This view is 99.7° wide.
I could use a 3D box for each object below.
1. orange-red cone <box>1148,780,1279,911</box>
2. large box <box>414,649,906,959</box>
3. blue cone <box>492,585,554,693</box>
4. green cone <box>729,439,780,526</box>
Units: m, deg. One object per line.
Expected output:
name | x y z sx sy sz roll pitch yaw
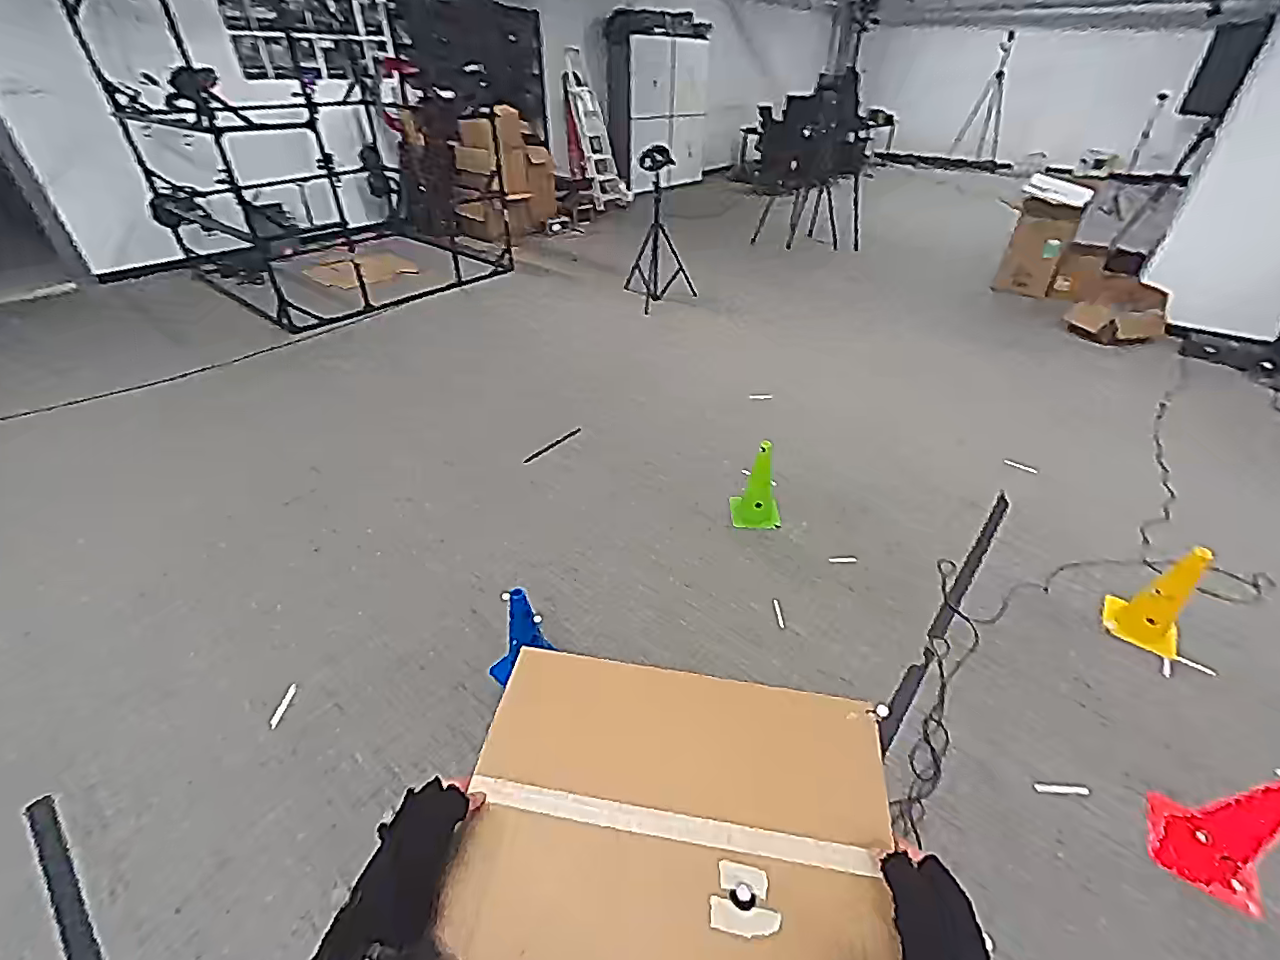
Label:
orange-red cone | 1.363 0.758 1.212 0.198 0.360 0.199 26 43 29
large box | 0.032 0.436 0.612 0.408 0.320 0.320 8 43 8
blue cone | -0.354 0.462 1.622 0.192 0.380 0.193 29 45 34
green cone | 0.486 -0.006 2.218 0.202 0.368 0.200 0 36 3
